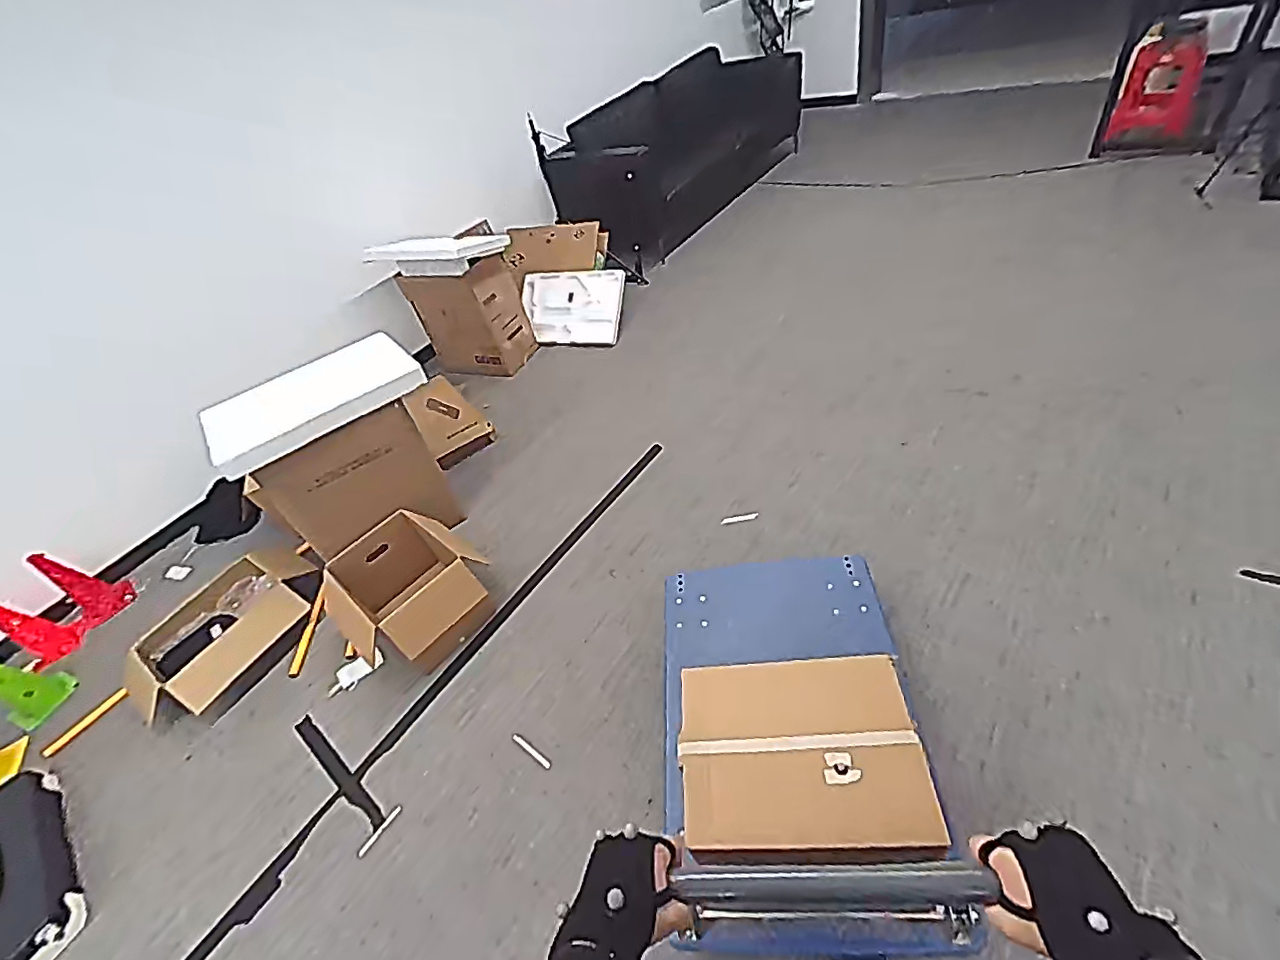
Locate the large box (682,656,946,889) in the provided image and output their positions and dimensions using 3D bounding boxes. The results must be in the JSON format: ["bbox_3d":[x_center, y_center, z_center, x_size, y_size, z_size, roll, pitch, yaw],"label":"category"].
[{"bbox_3d":[0.304,0.574,1.055,0.408,0.320,0.320,-7,44,9],"label":"large box"}]
